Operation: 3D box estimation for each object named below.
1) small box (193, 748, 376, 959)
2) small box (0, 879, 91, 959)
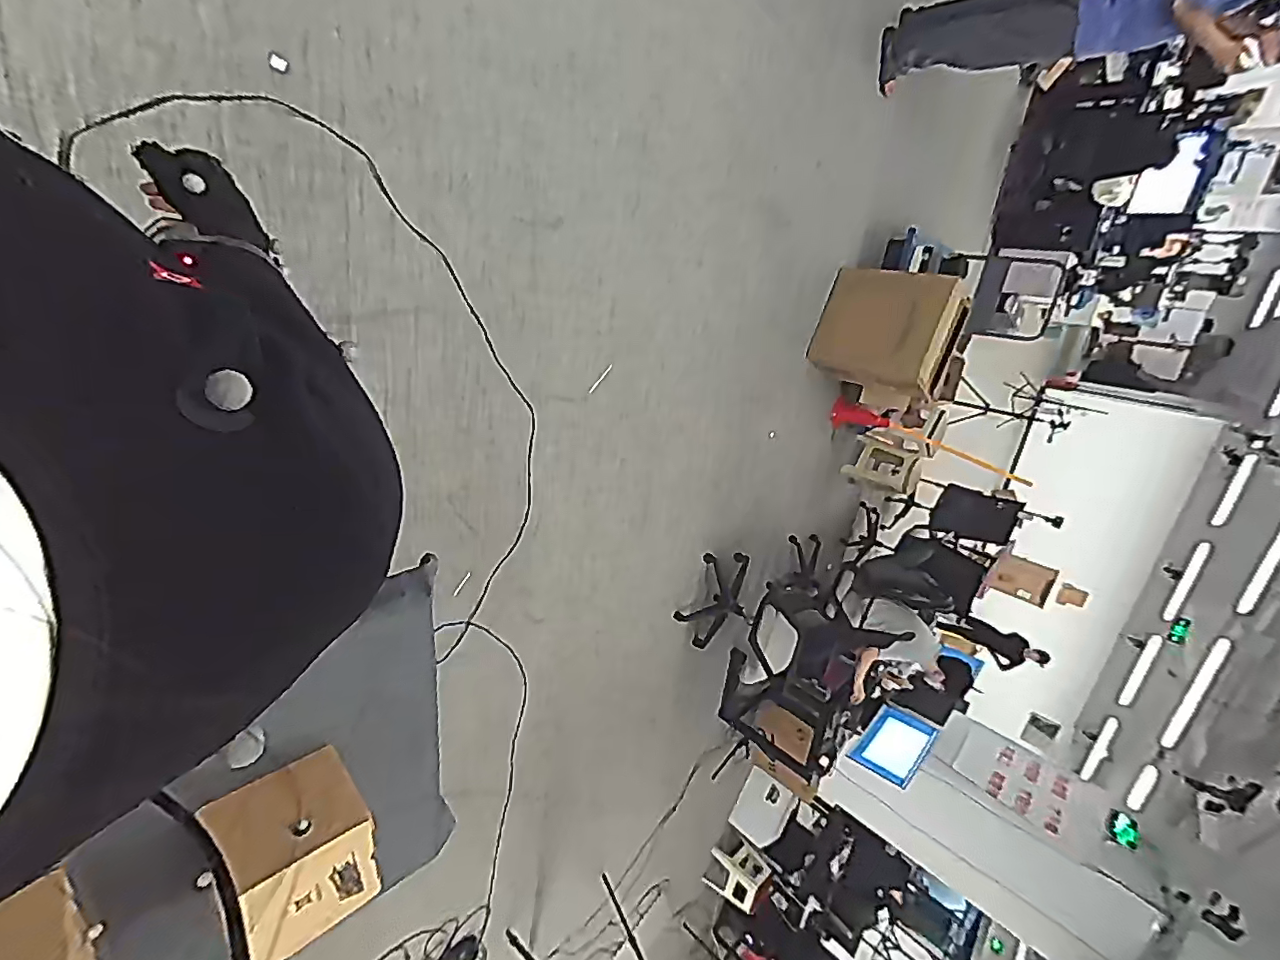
[{"bbox_3d":[-0.513,0.536,0.787,0.179,0.176,0.168,-16,120,-43],"label":"small box"},{"bbox_3d":[-0.714,0.583,0.580,0.168,0.176,0.179,-14,119,-45],"label":"small box"}]
